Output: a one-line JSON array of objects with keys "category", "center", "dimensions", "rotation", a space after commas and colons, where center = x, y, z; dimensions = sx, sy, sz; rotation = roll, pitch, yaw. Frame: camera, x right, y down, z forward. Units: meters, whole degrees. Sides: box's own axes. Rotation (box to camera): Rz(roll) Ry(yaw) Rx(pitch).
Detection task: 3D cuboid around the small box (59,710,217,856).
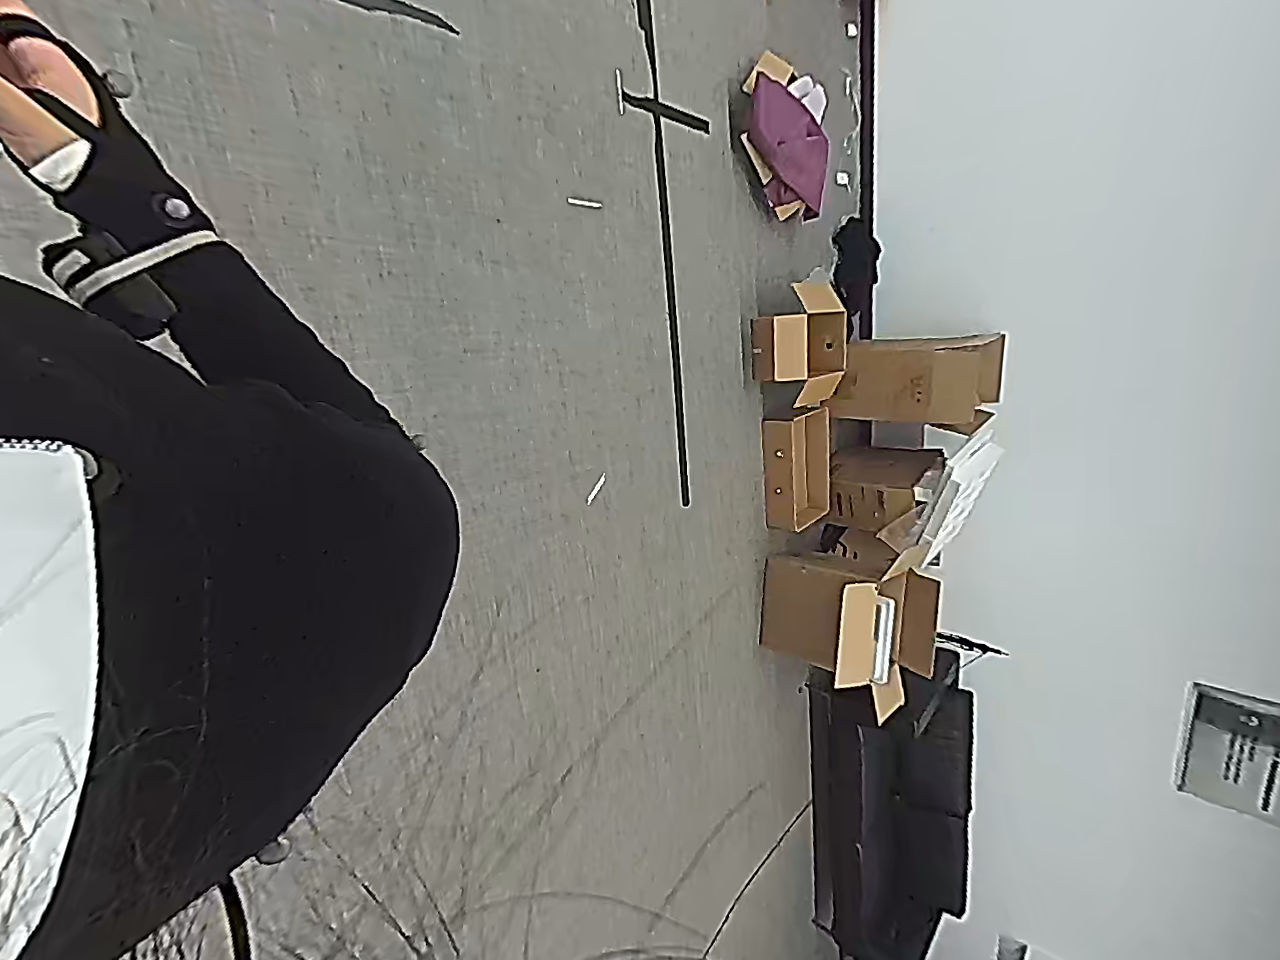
[{"category": "small box", "center": [-0.889, 0.503, 0.967], "dimensions": [0.168, 0.176, 0.179], "rotation": [-22, 111, -43]}]
